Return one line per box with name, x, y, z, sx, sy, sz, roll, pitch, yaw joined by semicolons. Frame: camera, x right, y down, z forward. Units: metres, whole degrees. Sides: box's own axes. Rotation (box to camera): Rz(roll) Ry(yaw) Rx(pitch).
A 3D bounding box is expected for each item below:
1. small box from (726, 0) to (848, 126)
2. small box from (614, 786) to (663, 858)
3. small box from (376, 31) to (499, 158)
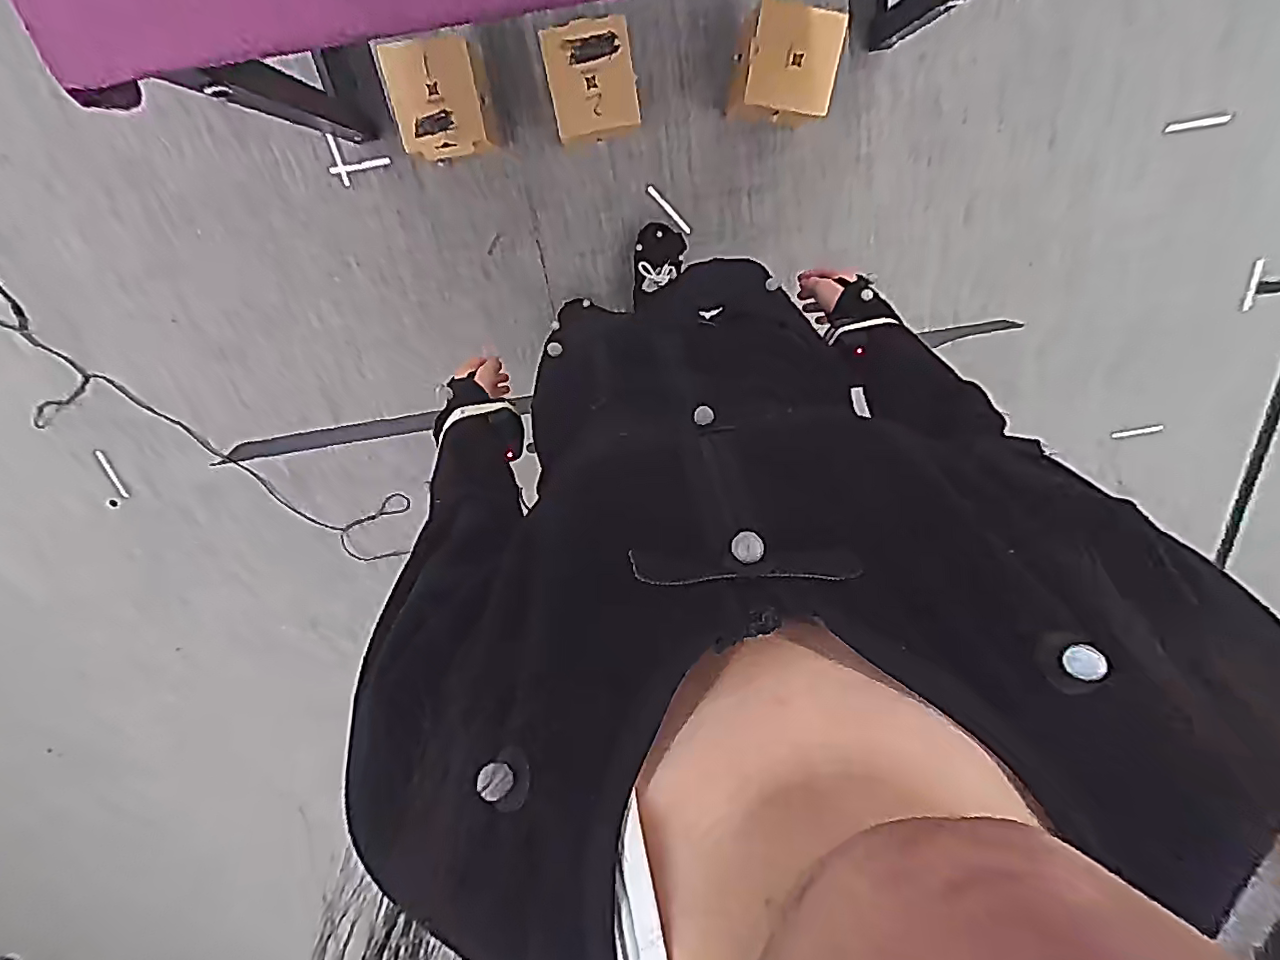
small box;0.291;-0.846;1.113;0.179;0.176;0.168;6;115;-6
small box;-0.006;1.349;2.140;0.168;0.176;0.179;-11;117;1
small box;-0.396;-0.765;1.093;0.168;0.176;0.179;-9;115;0
